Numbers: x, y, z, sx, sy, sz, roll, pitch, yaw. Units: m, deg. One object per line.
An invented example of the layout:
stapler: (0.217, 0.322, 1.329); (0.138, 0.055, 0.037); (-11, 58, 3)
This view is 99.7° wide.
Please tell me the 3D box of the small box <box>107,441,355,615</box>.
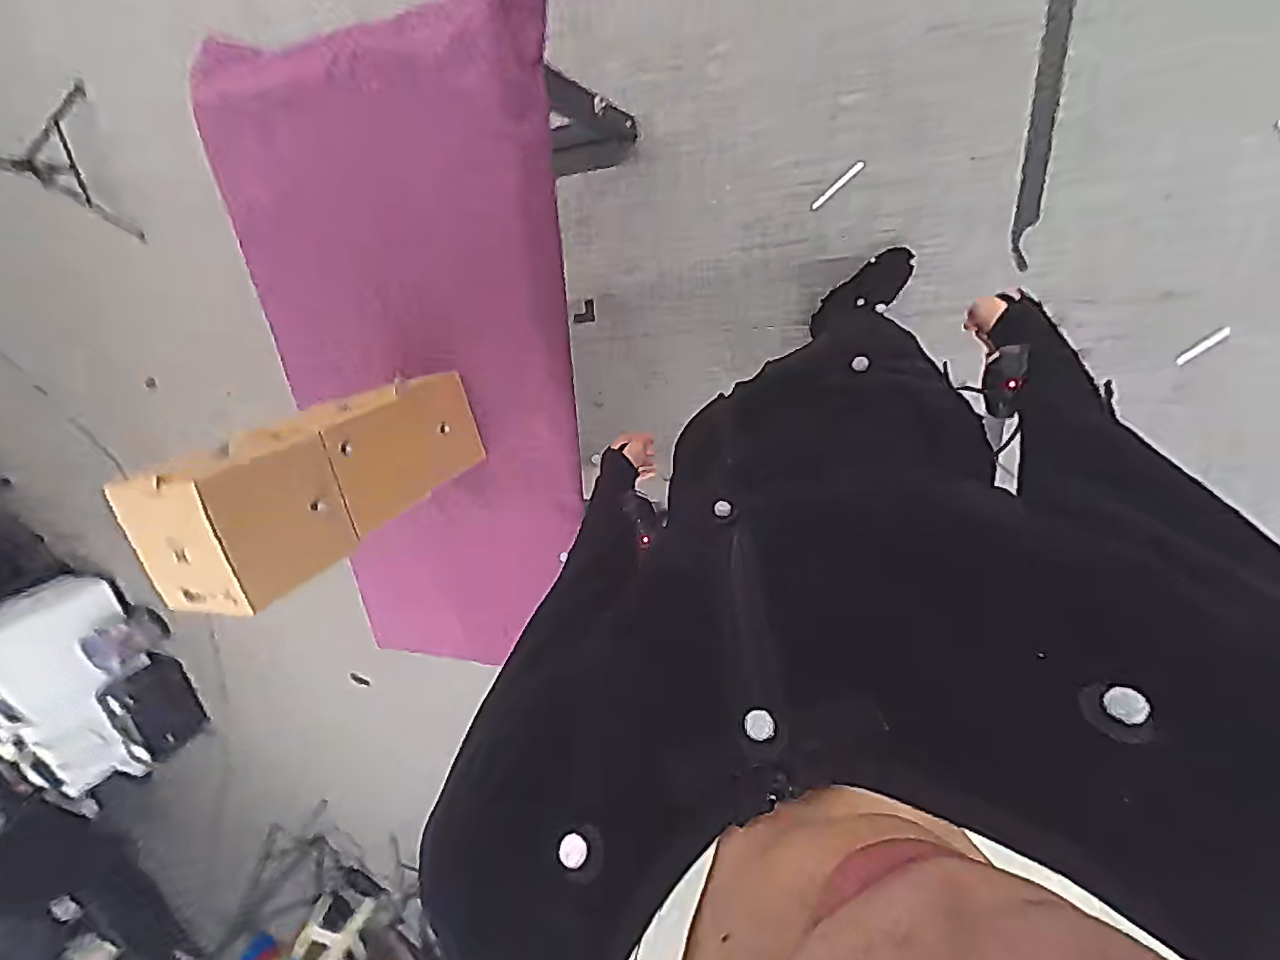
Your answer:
small box: (-0.518, 0.051, 0.709); (0.168, 0.176, 0.179); (-1, 111, 21)

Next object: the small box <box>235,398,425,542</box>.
small box: (-0.470, -0.020, 0.850); (0.168, 0.176, 0.179); (-1, 112, 20)
